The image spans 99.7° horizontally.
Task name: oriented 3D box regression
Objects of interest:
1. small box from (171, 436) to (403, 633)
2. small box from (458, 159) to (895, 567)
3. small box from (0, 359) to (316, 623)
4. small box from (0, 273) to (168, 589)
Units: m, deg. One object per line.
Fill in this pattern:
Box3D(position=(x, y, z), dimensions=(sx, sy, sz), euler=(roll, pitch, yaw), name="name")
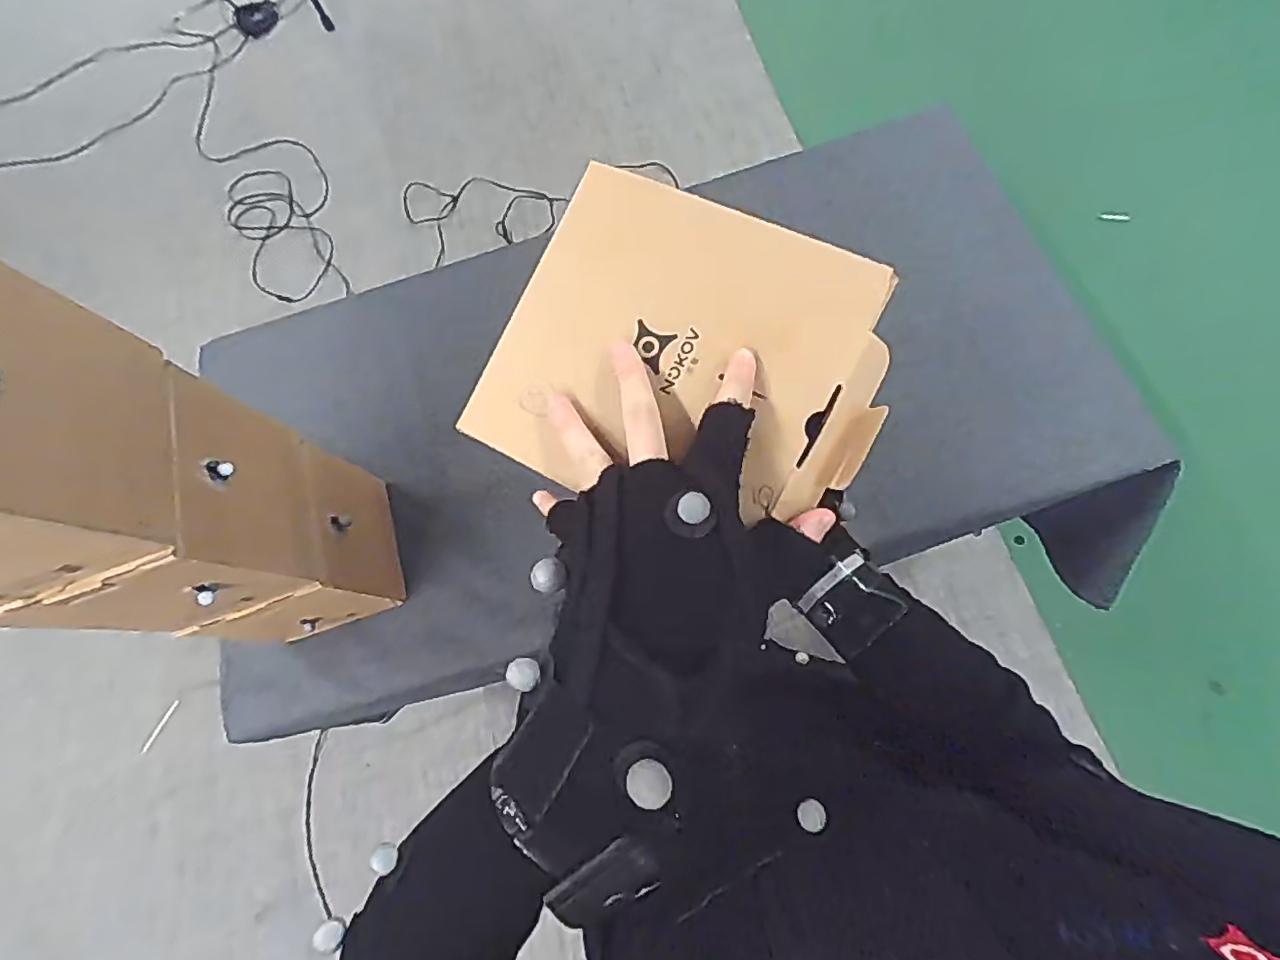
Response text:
Box3D(position=(-0.413, 0.076, 0.651), dimensions=(0.168, 0.176, 0.179), euler=(-19, 72, 1), name="small box")
Box3D(position=(0.026, -0.058, 0.353), dimensions=(0.179, 0.176, 0.168), euler=(28, 91, 13), name="small box")
Box3D(position=(-0.430, 0.024, 0.497), dimensions=(0.168, 0.176, 0.179), euler=(-18, 72, 0), name="small box")
Box3D(position=(-0.450, -0.030, 0.344), dimensions=(0.168, 0.176, 0.179), euler=(-19, 72, -1), name="small box")
